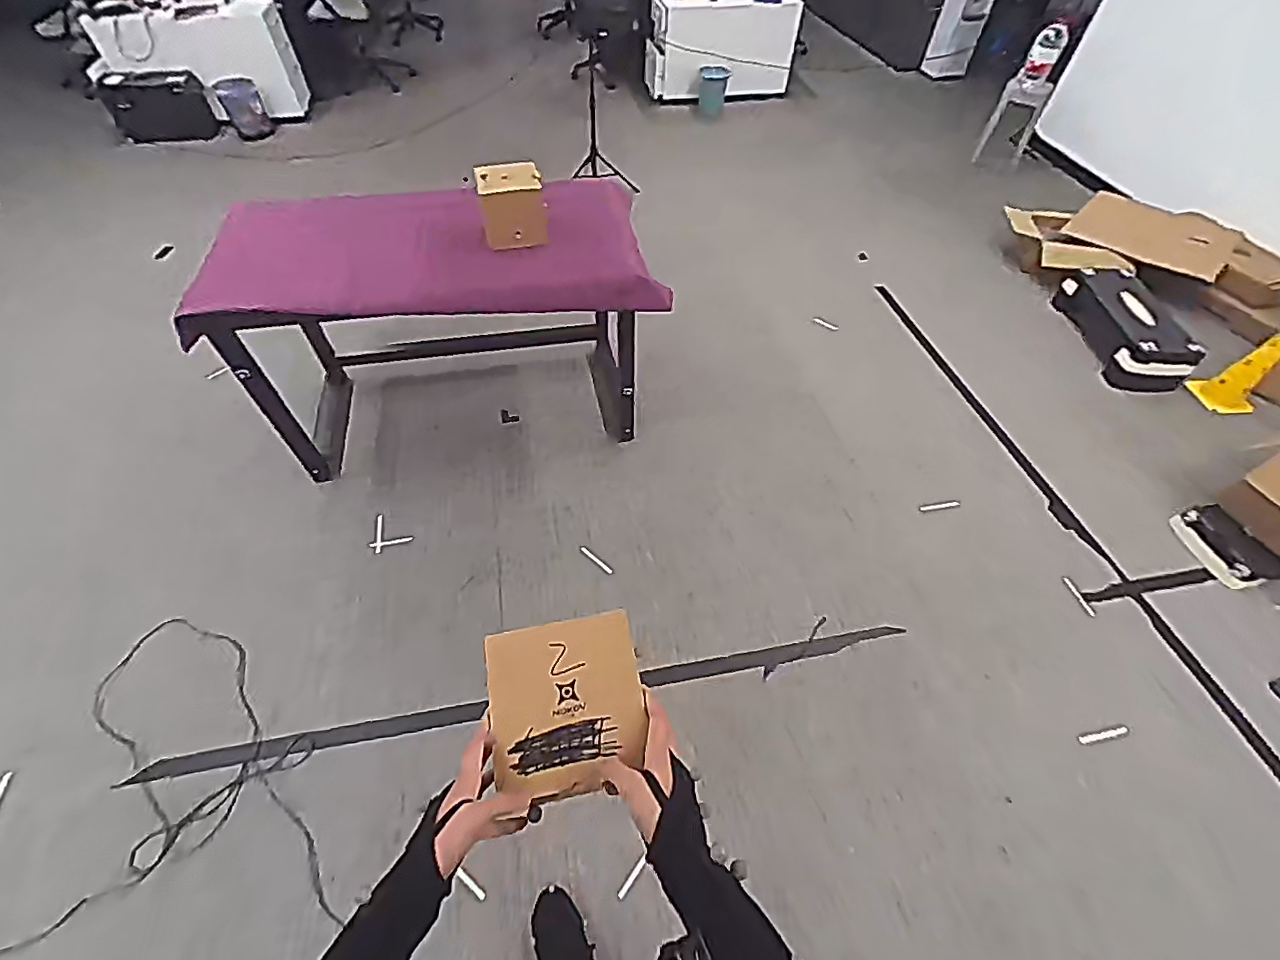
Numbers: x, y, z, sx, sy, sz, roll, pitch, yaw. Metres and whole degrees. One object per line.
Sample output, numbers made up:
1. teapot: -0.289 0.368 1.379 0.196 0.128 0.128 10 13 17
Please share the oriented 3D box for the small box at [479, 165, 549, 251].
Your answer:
1. small box: -0.367 -0.800 1.594 0.179 0.176 0.168 -10 53 -10
